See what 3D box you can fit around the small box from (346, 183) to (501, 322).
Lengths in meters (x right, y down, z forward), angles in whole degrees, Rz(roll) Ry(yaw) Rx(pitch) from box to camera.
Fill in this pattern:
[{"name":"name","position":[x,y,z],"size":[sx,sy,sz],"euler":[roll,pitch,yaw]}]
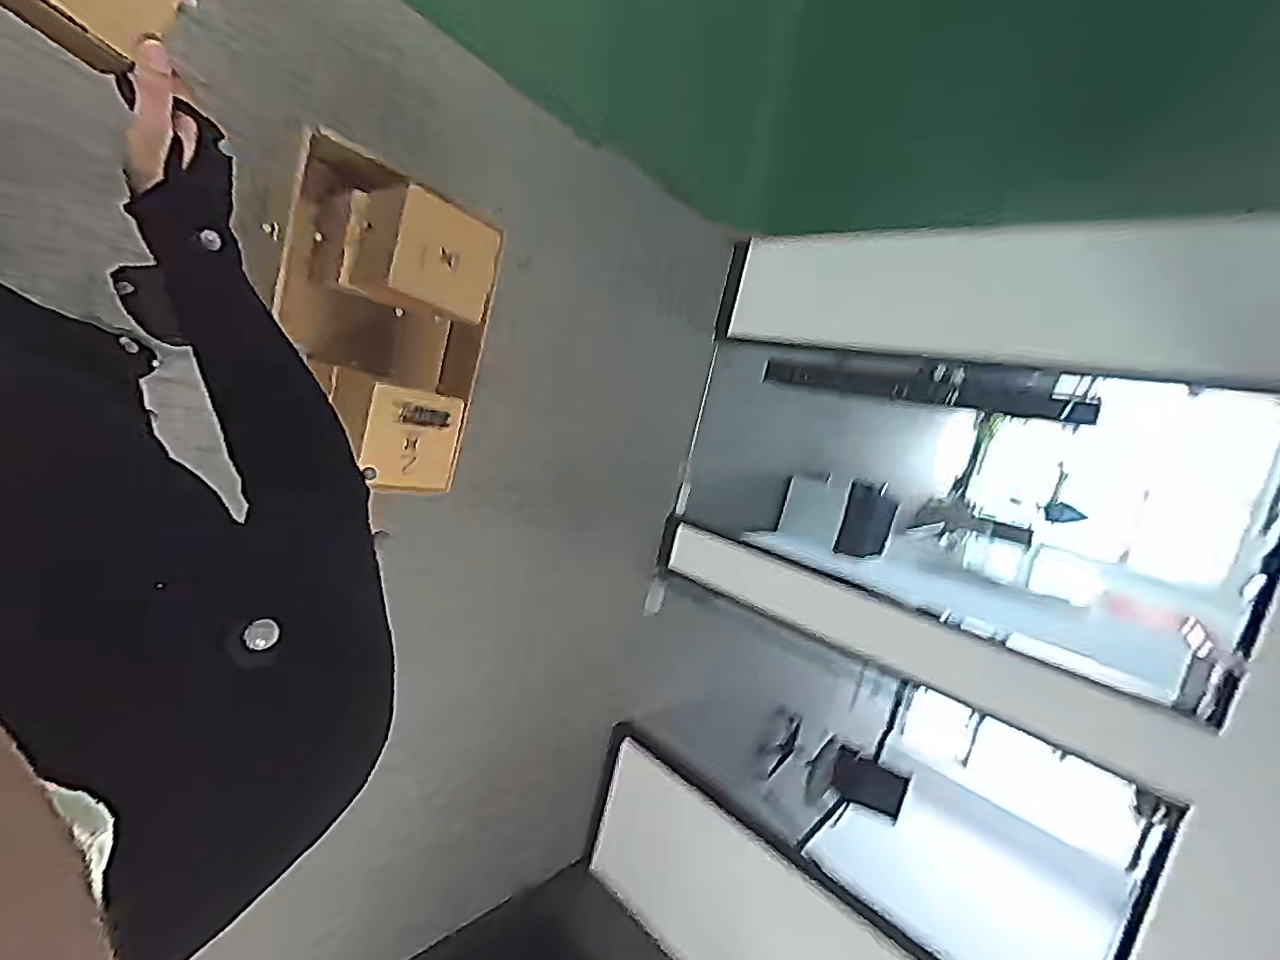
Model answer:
[{"name":"small box","position":[-0.384,-0.395,0.959],"size":[0.179,0.176,0.168],"euler":[13,94,-51]}]

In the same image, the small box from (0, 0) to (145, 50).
[{"name":"small box","position":[-0.430,-0.434,0.364],"size":[0.168,0.176,0.179],"euler":[27,90,-57]}]
